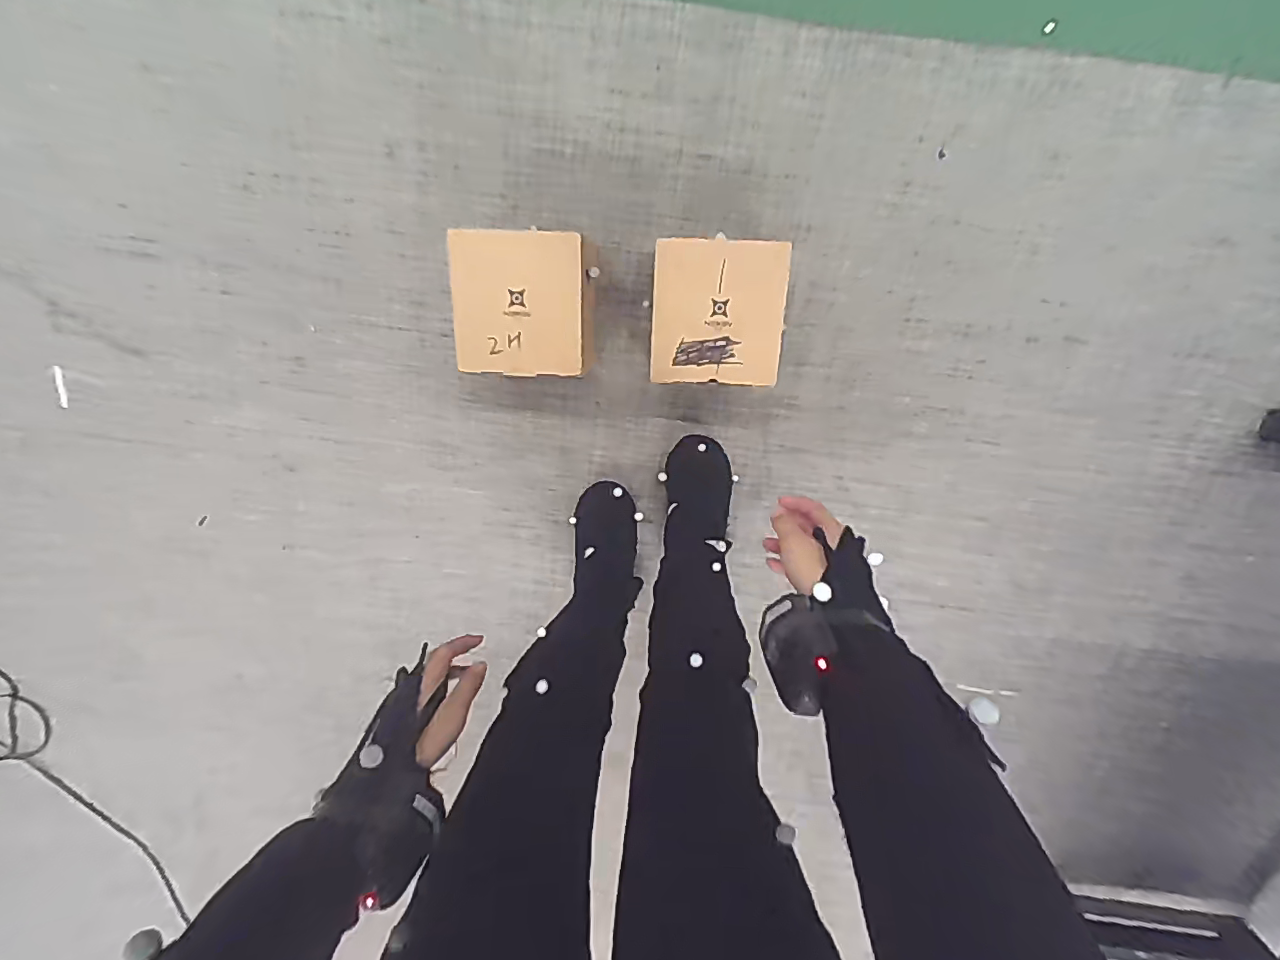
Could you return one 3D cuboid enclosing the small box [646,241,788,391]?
[{"bbox_3d":[0.096,-0.227,0.752,0.168,0.176,0.179,3,109,1],"label":"small box"}]

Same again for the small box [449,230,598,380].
[{"bbox_3d":[-0.152,-0.243,0.757,0.168,0.176,0.179,3,109,2],"label":"small box"}]
